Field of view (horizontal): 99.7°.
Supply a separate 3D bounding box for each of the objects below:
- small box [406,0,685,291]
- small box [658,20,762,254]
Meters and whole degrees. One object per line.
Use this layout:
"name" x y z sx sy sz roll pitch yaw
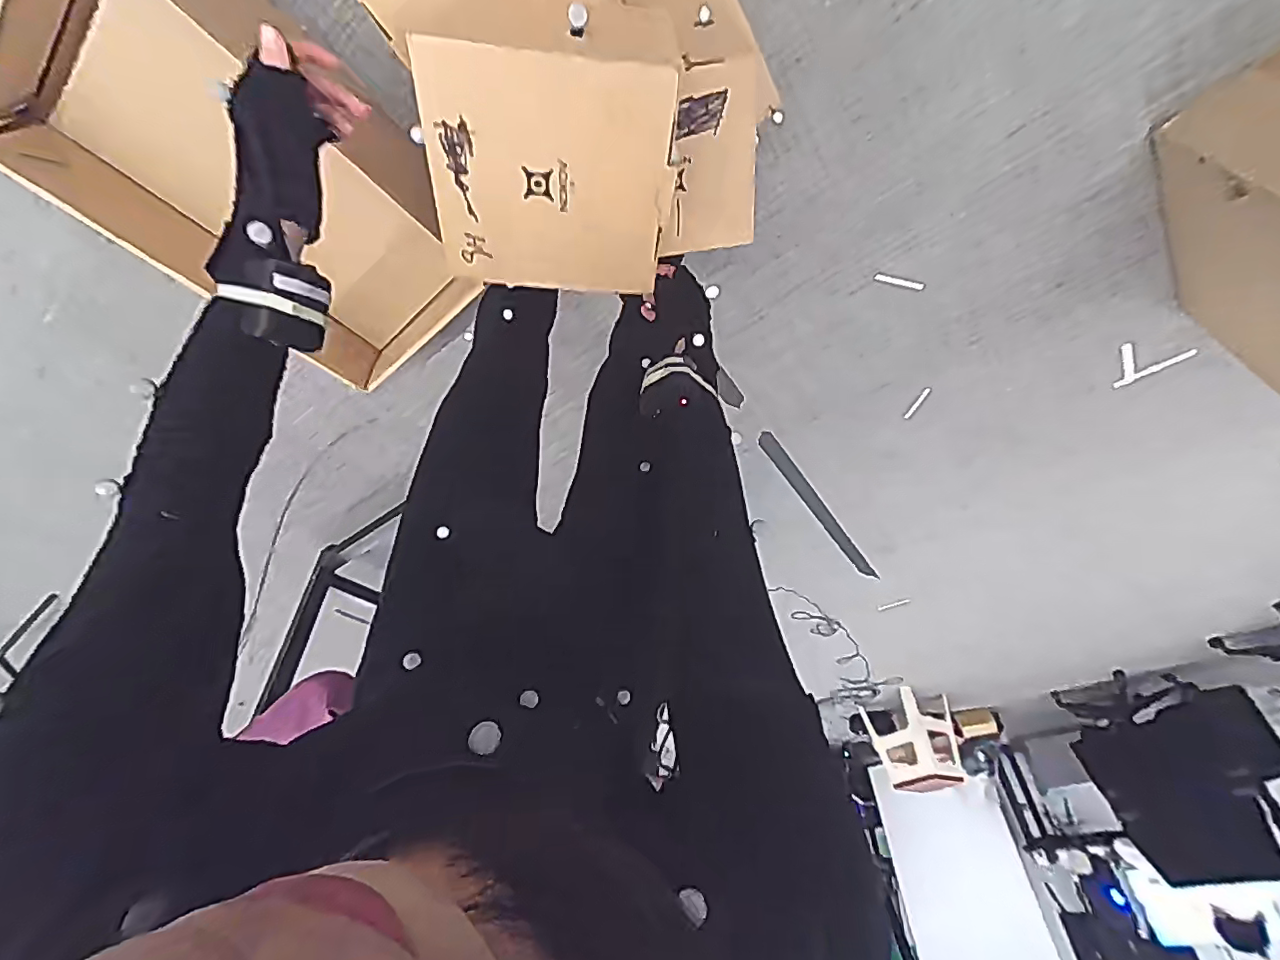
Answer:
"small box" -0.069 -0.279 0.444 0.179 0.176 0.168 3 140 -6
"small box" 0.032 -0.373 0.592 0.168 0.176 0.179 -6 141 4
